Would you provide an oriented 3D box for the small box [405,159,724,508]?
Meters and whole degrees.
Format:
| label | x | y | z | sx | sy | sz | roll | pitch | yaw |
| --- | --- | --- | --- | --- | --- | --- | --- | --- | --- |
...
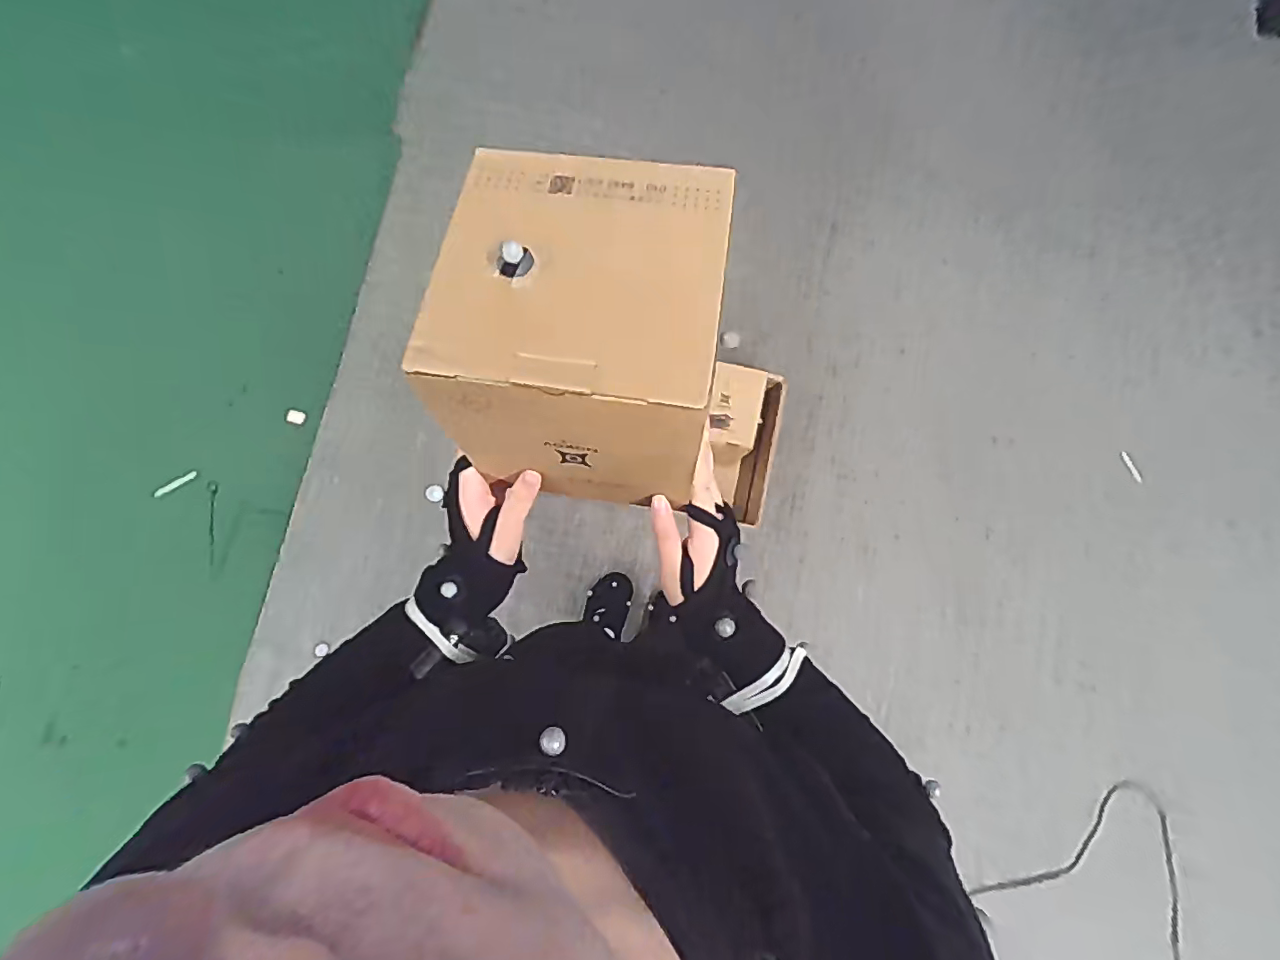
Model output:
| label | x | y | z | sx | sy | sz | roll | pitch | yaw |
| --- | --- | --- | --- | --- | --- | --- | --- | --- | --- |
| small box | -0.036 | -0.093 | 0.387 | 0.168 | 0.179 | 0.176 | 8 | 71 | 4 |

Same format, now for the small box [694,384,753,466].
| label | x | y | z | sx | sy | sz | roll | pitch | yaw |
| --- | --- | --- | --- | --- | --- | --- | --- | --- | --- |
| small box | 0.185 | -0.141 | 1.418 | 0.168 | 0.176 | 0.179 | 13 | 84 | 1 |
